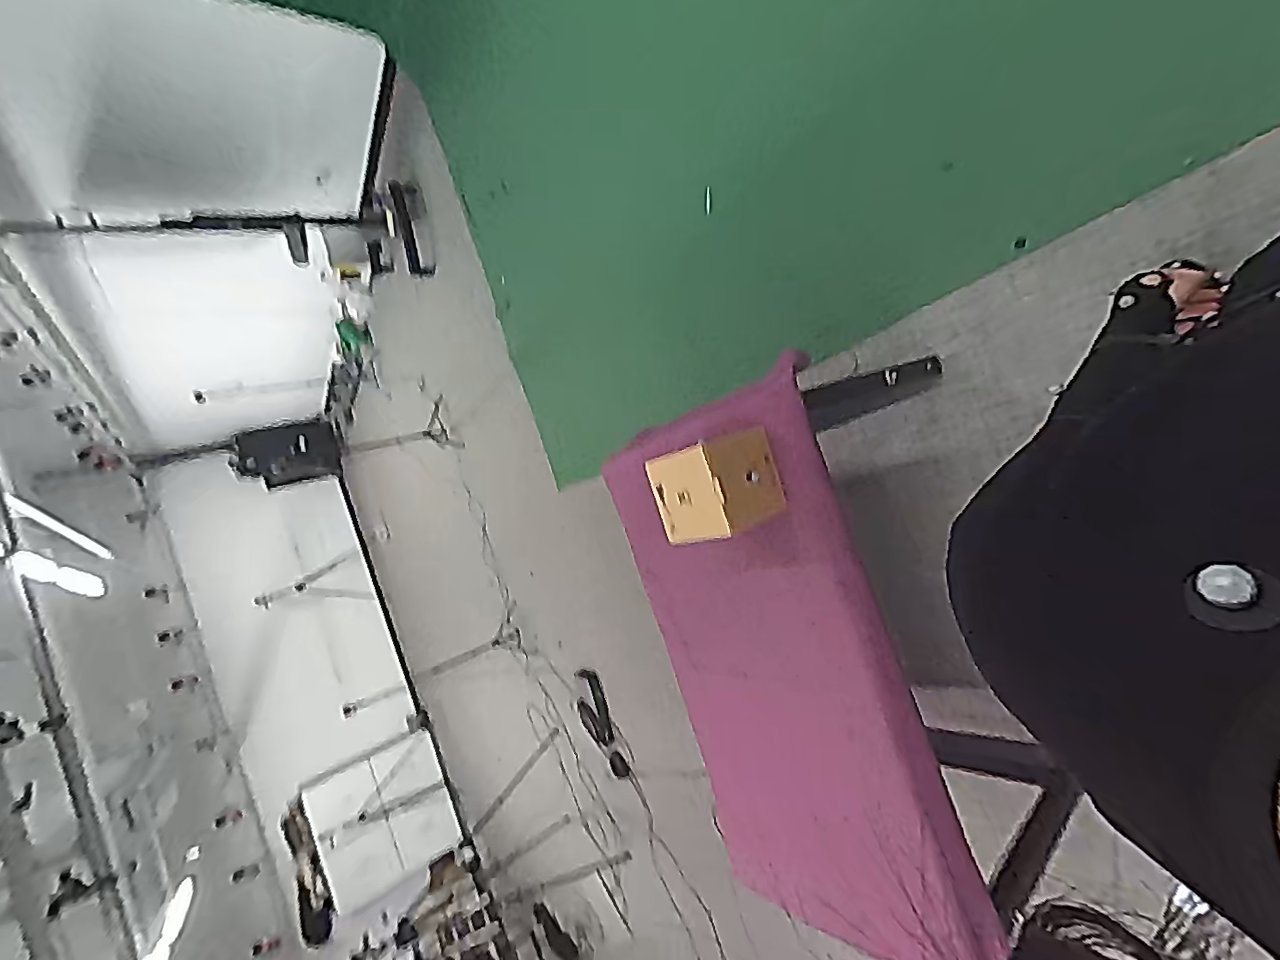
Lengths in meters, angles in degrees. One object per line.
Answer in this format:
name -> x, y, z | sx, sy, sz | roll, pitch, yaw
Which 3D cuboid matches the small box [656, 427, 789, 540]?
small box -> 0.166, 0.007, 1.050 | 0.179, 0.176, 0.168 | -17, 92, 53
